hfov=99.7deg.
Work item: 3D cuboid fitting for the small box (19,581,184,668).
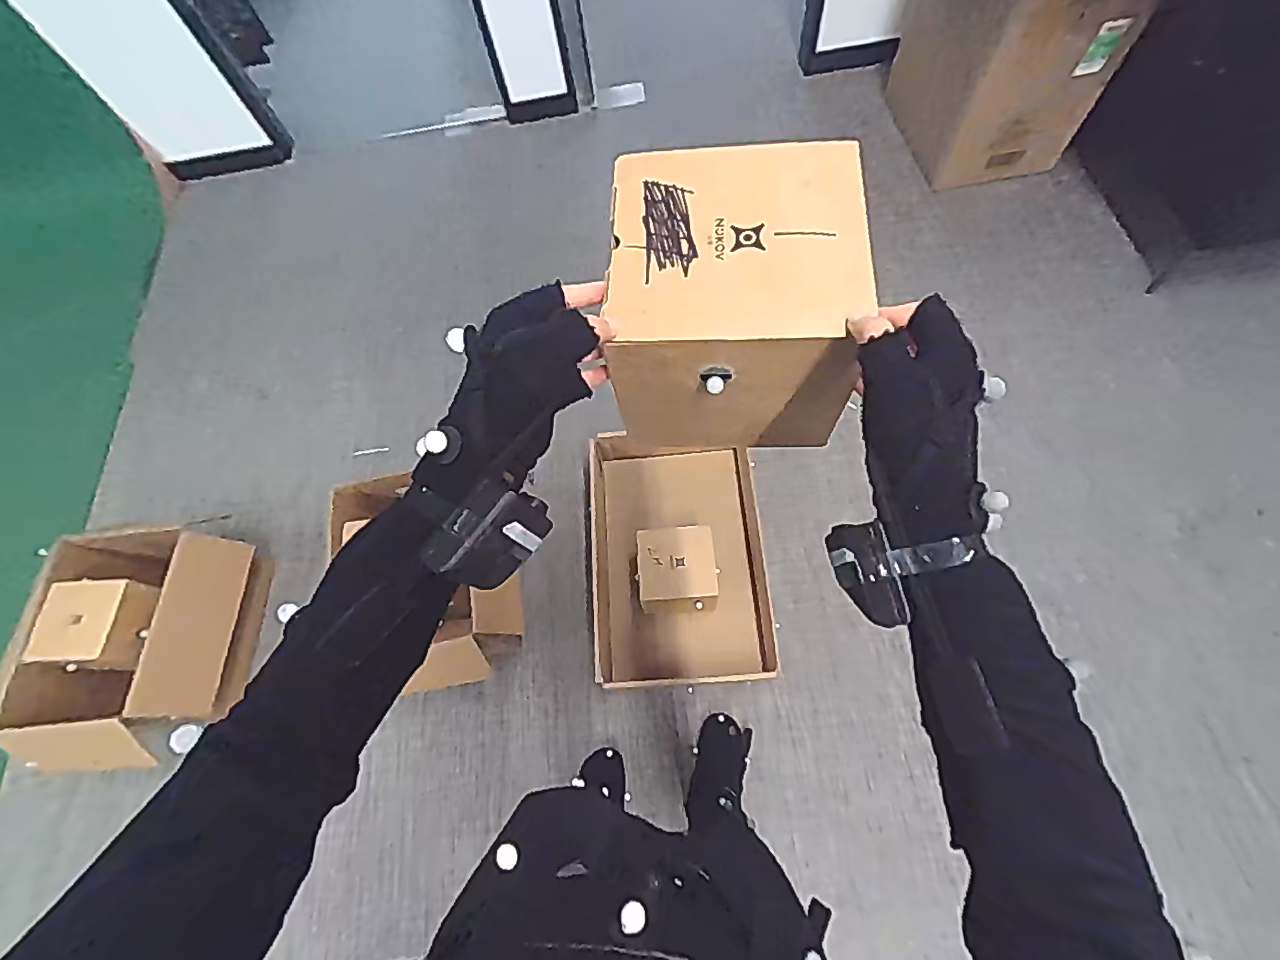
[{"bbox_3d":[-1.185,0.327,1.209,0.179,0.176,0.168,-3,65,3],"label":"small box"}]

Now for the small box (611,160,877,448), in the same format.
[{"bbox_3d":[0.079,-0.133,0.457,0.179,0.176,0.168,0,69,6],"label":"small box"}]
